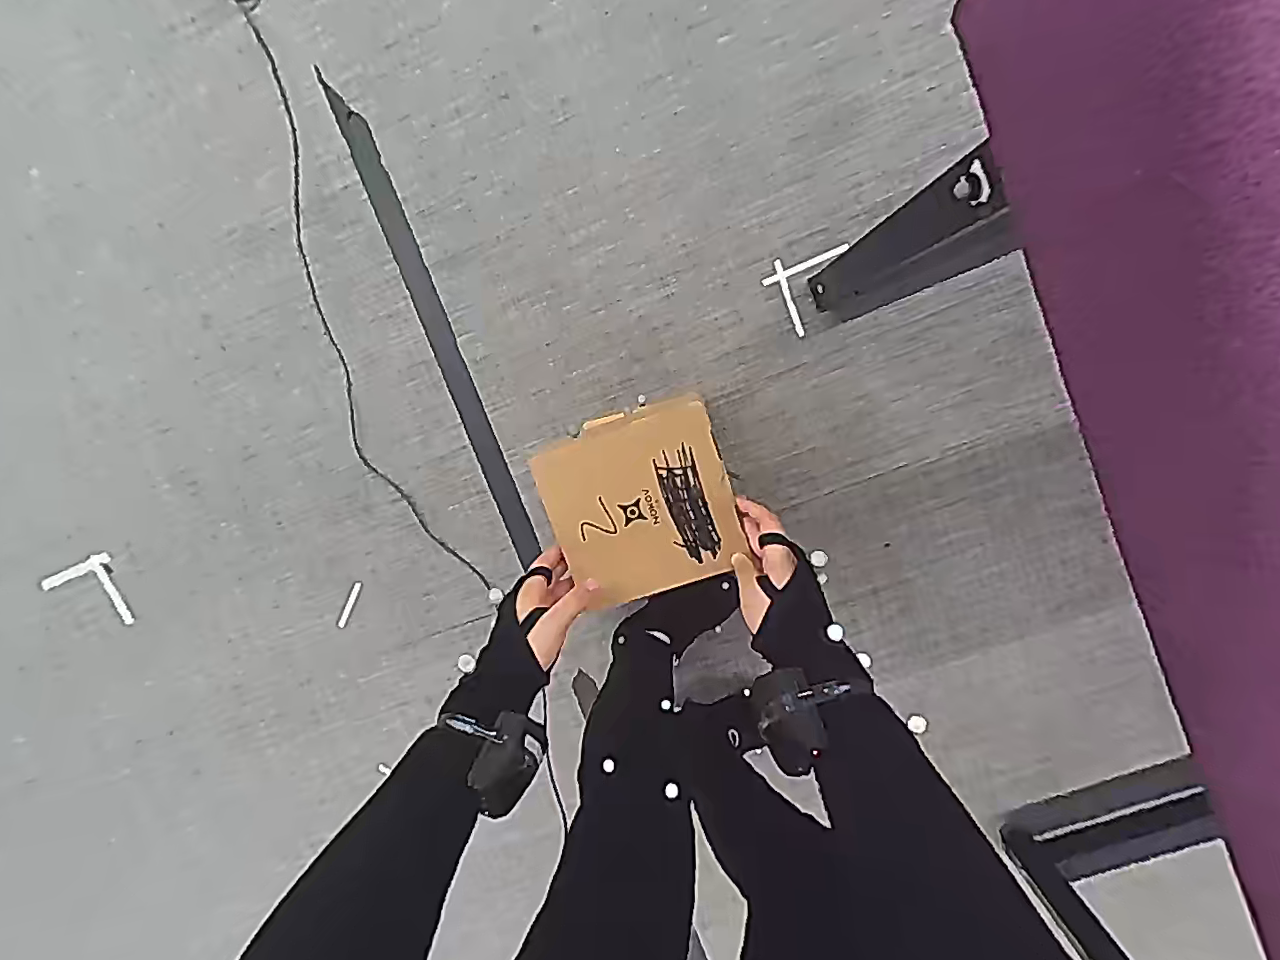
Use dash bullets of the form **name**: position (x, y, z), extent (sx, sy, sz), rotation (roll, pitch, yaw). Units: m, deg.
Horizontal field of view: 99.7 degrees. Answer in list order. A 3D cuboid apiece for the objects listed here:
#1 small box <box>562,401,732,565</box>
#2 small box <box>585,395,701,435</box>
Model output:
- **small box**: position (0.013, -0.007, 0.753), extent (0.179, 0.176, 0.168), rotation (-20, 98, 7)
- **small box**: position (0.024, -0.042, 0.913), extent (0.179, 0.176, 0.168), rotation (-15, 98, 6)
